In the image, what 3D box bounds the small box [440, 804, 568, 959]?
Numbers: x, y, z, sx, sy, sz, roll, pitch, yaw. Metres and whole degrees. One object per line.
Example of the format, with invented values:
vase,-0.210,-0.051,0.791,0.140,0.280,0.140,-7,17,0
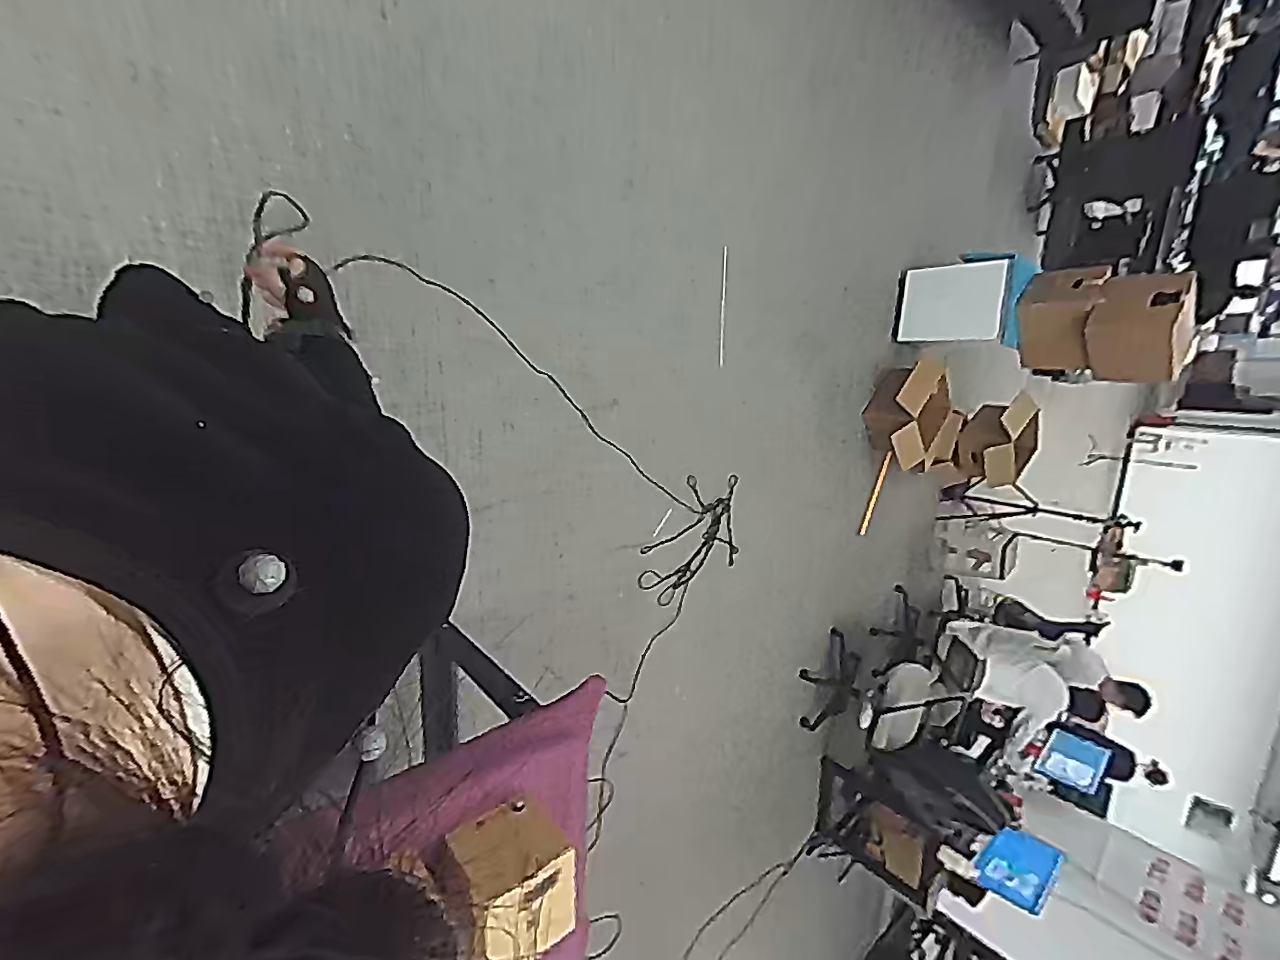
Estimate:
small box,-0.241,0.712,0.949,0.168,0.176,0.179,-8,106,-40
